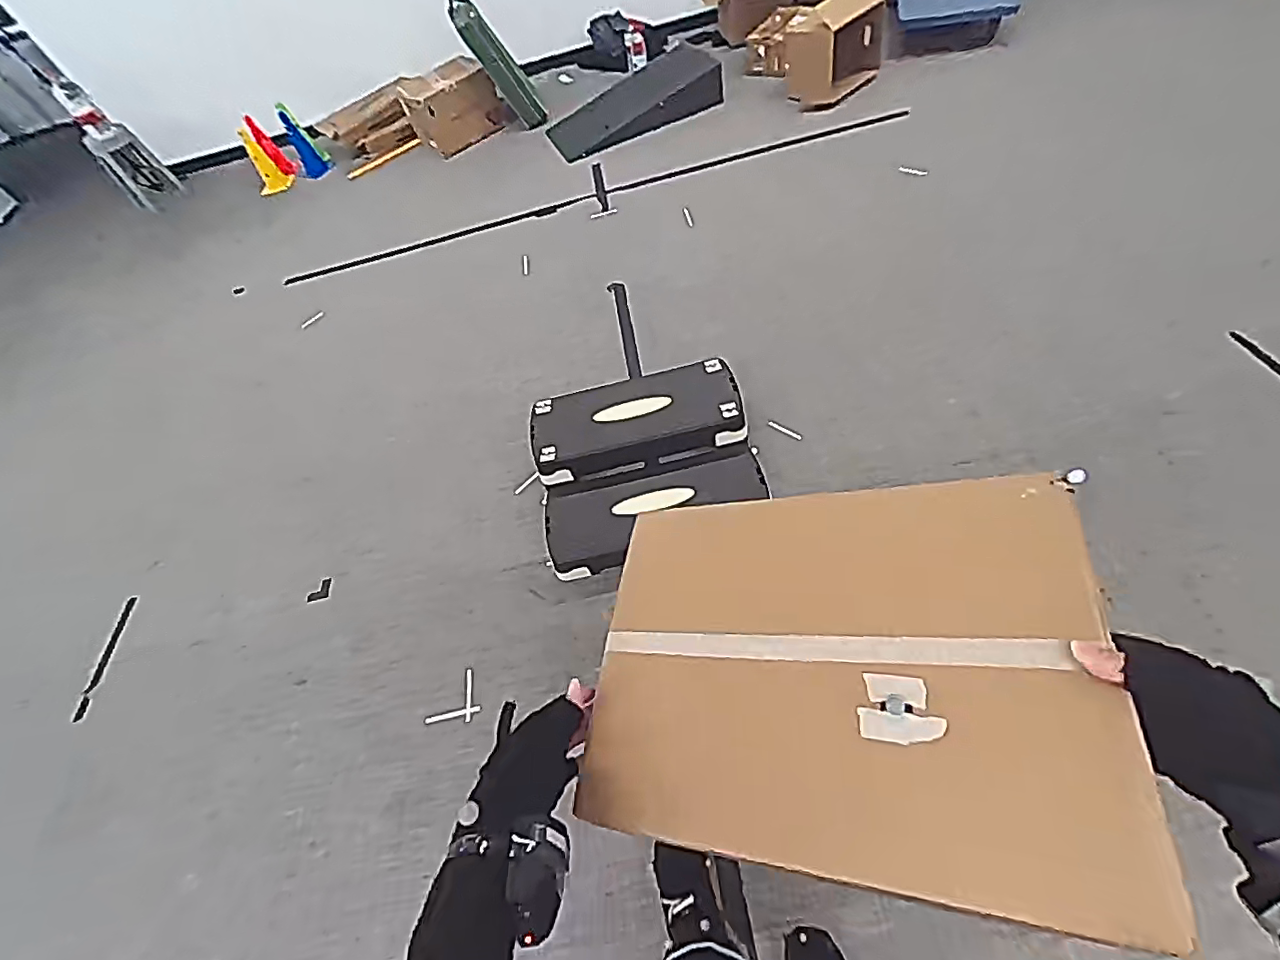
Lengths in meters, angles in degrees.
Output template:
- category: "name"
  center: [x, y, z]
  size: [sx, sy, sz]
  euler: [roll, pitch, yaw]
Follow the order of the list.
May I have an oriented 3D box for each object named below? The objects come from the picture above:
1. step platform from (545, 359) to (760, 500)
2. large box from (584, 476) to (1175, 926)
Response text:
- category: "step platform"
  center: [0.036, -0.169, 1.764]
  size: [0.684, 0.204, 0.286]
  euler: [-14, 54, 3]
- category: "large box"
  center: [0.212, 0.230, 0.572]
  size: [0.408, 0.320, 0.320]
  euler: [-8, 53, 28]
